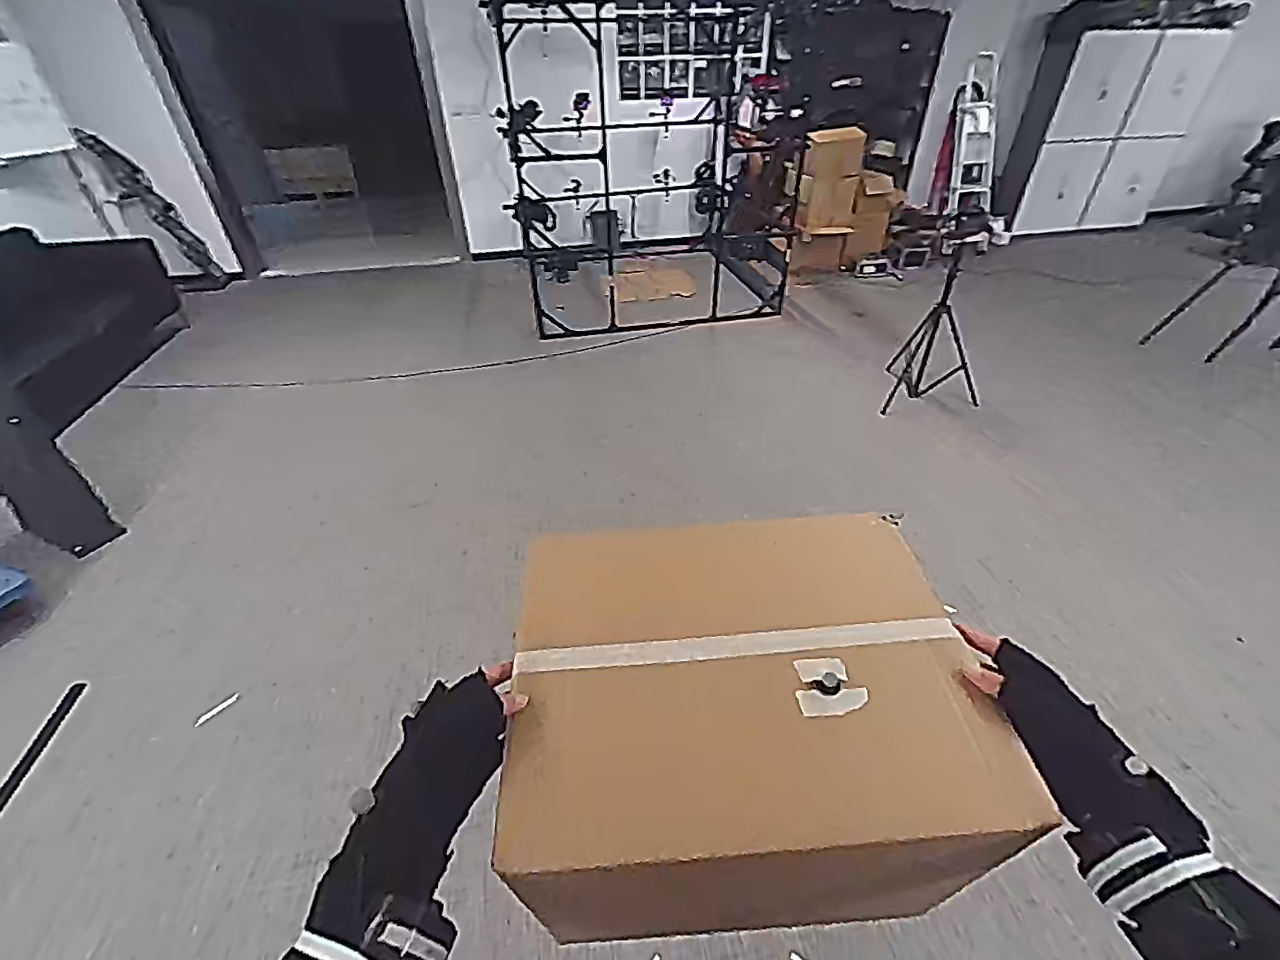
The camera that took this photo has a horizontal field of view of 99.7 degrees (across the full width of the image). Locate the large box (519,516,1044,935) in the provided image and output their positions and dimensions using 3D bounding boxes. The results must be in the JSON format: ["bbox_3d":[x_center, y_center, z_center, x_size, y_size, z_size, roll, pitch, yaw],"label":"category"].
[{"bbox_3d":[0.100,0.267,0.605,0.408,0.320,0.320,-4,43,-1],"label":"large box"}]
